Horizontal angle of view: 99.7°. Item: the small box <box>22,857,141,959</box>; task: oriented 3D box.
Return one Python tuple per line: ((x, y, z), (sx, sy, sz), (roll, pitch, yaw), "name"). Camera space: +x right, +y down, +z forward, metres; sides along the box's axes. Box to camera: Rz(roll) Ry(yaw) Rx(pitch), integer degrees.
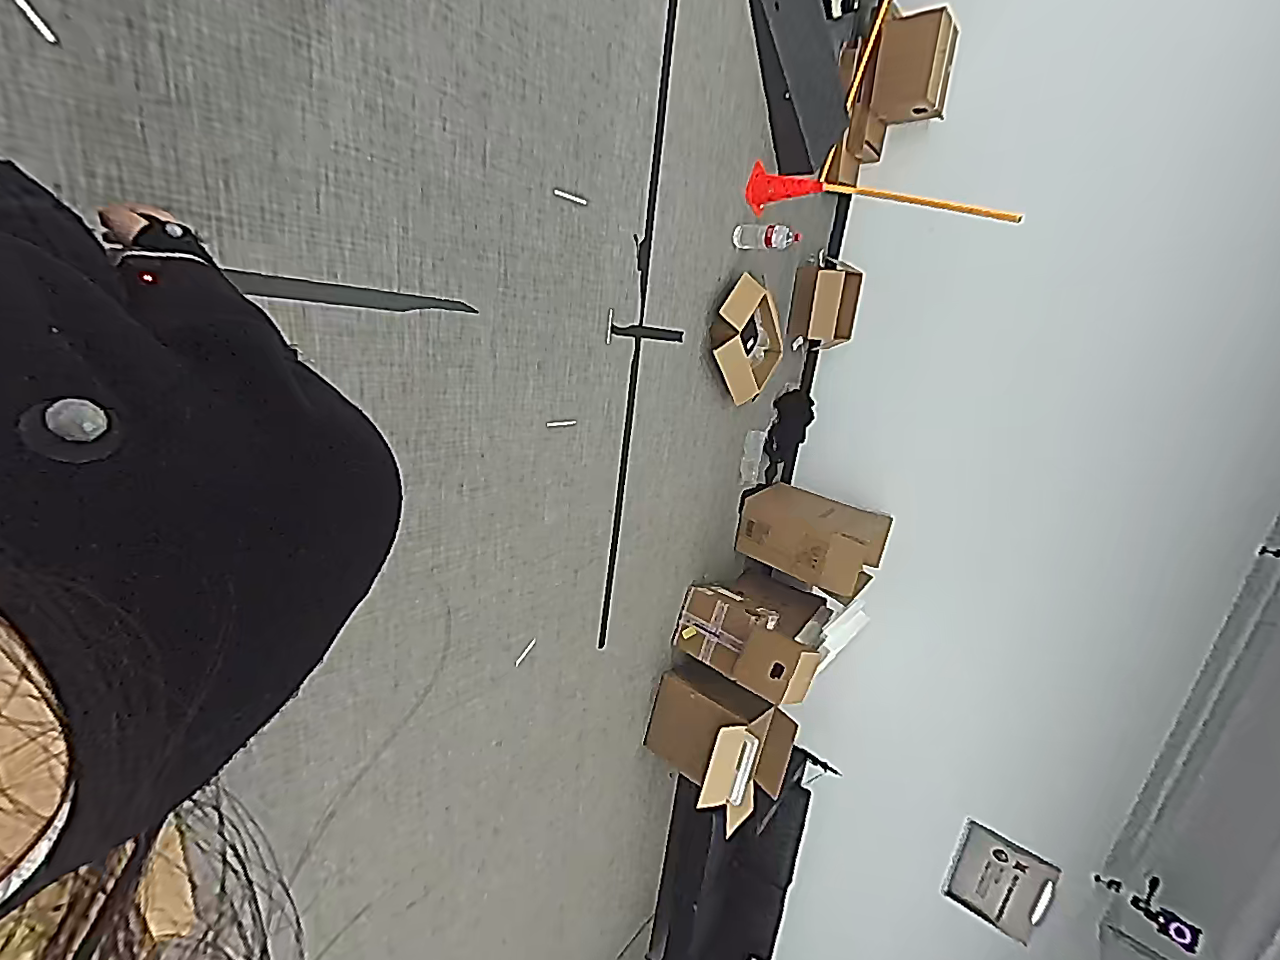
((-1.284, 1.019, 1.244), (0.168, 0.176, 0.179), (-10, 114, -50), "small box")
